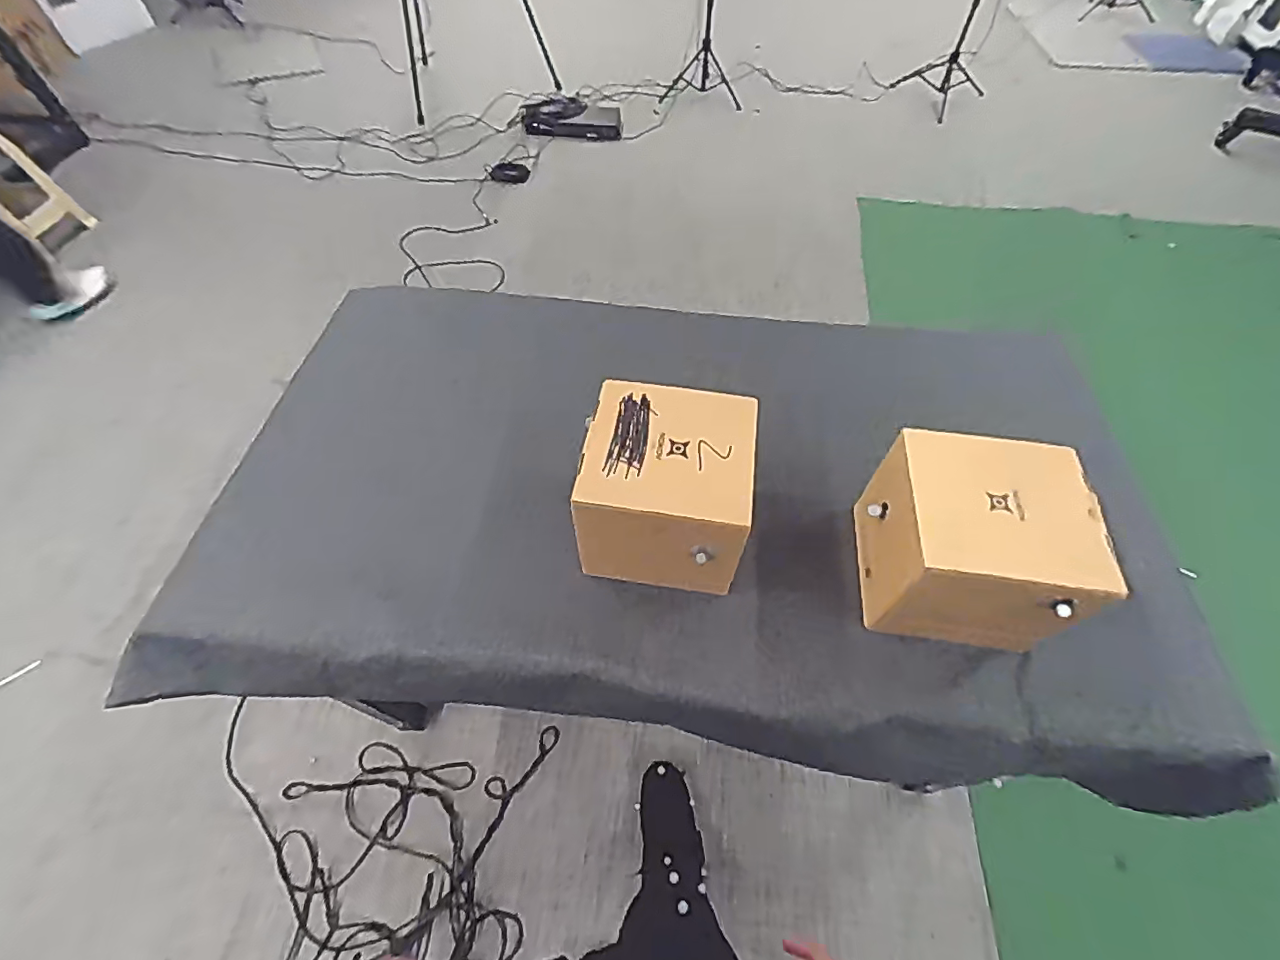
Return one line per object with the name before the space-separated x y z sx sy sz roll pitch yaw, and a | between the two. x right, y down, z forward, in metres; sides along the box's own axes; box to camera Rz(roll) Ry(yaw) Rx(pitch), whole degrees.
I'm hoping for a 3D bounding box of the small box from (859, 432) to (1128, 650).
small box | 0.348 0.071 0.583 0.179 0.176 0.168 7 56 4
